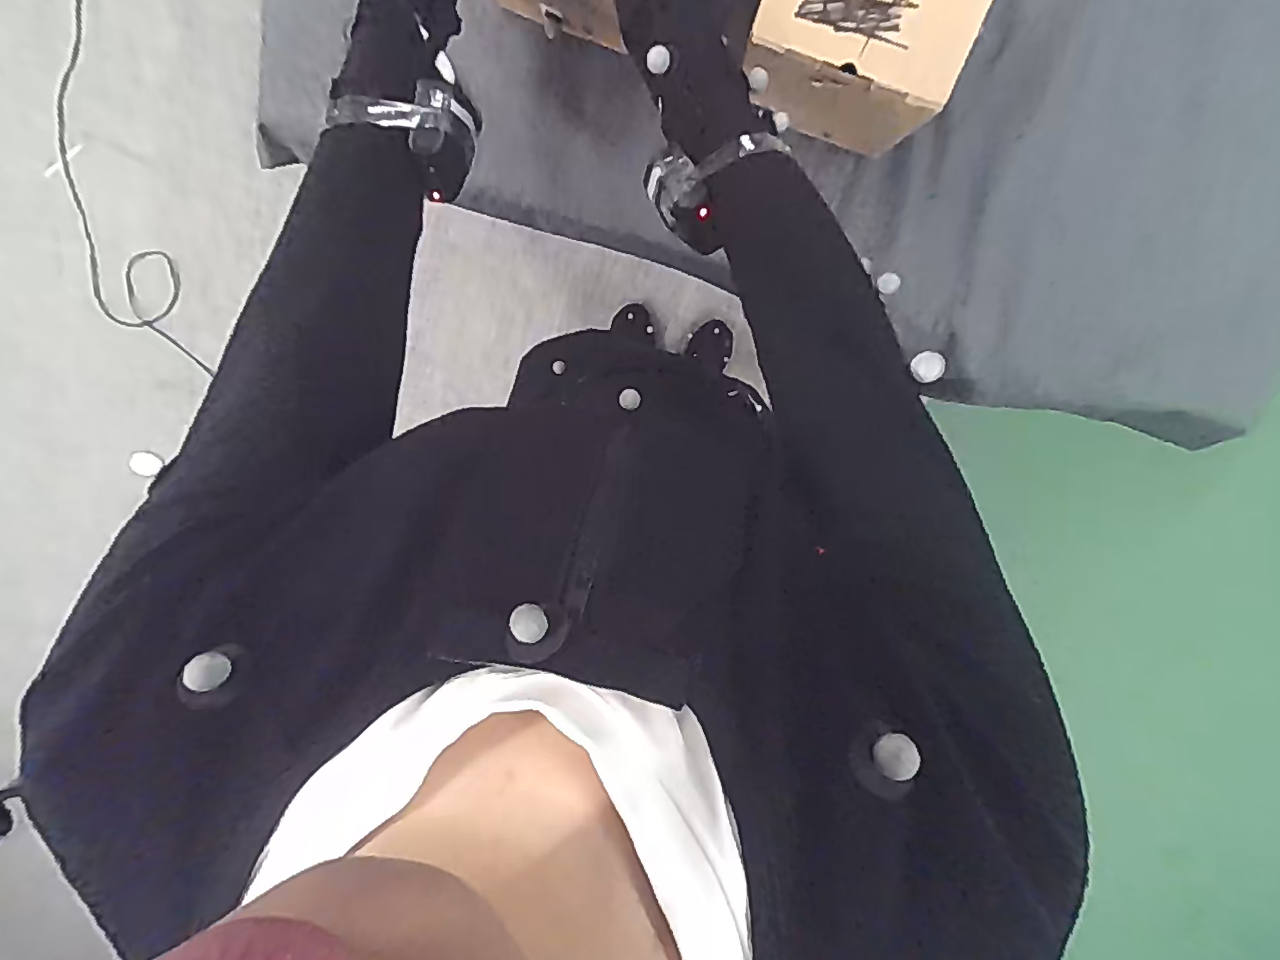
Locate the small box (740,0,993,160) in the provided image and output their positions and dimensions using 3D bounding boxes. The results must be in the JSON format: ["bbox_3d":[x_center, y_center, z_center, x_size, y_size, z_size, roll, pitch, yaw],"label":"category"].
[{"bbox_3d":[0.196,-0.414,0.476,0.168,0.176,0.179,19,108,-2],"label":"small box"}]

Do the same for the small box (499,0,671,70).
[{"bbox_3d":[-0.047,-0.507,0.468,0.168,0.176,0.179,18,110,0],"label":"small box"}]
